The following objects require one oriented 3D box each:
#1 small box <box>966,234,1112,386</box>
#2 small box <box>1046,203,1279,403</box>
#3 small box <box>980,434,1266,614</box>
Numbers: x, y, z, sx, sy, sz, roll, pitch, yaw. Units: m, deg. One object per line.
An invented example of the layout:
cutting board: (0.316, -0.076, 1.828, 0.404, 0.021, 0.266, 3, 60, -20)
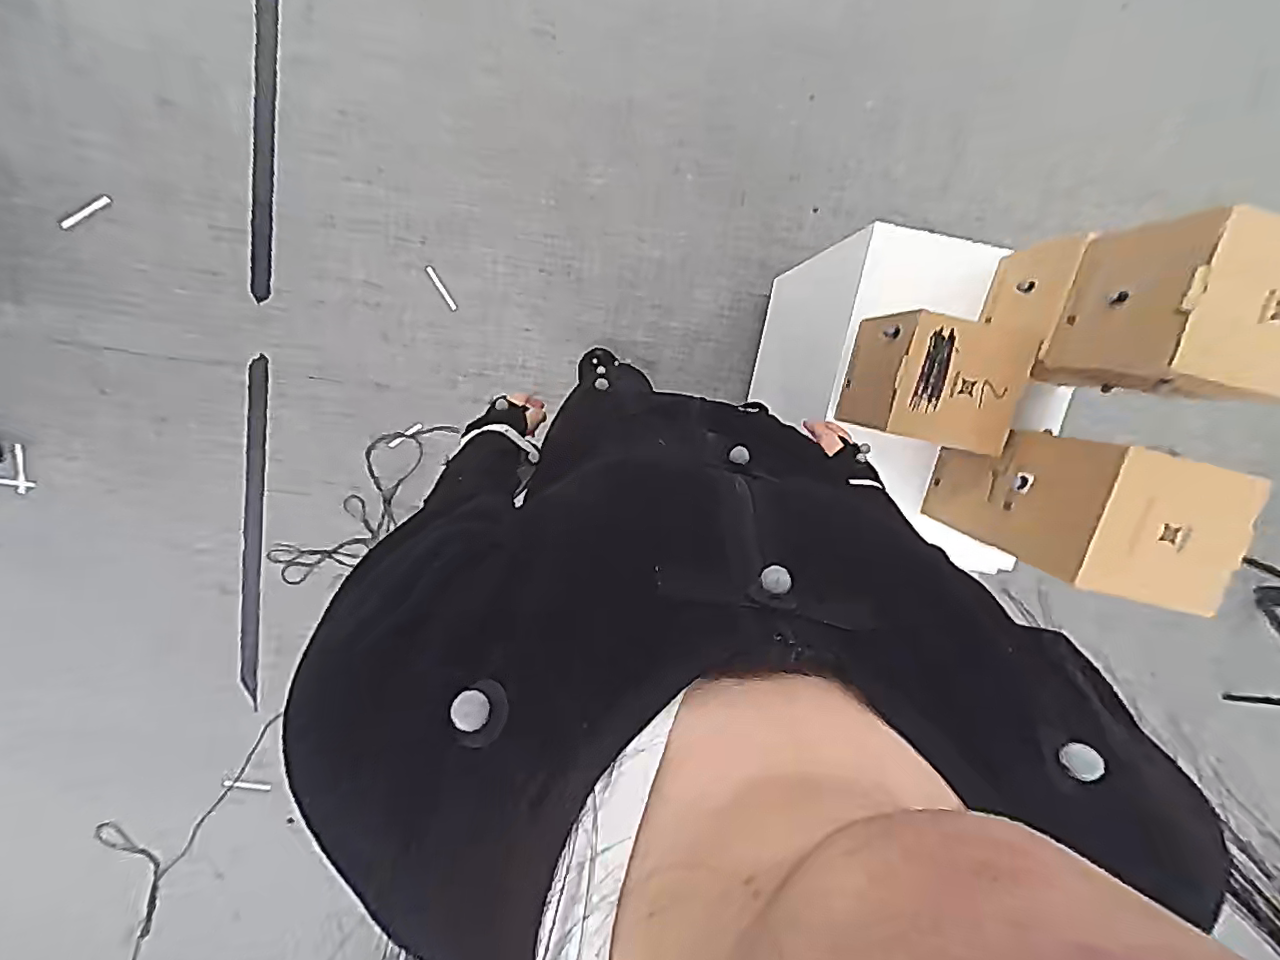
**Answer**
small box: (0.623, -0.234, 0.788, 0.179, 0.176, 0.168, 14, 102, -5)
small box: (0.633, -0.191, 0.629, 0.179, 0.176, 0.168, 14, 101, -5)
small box: (0.580, 0.044, 0.677, 0.179, 0.176, 0.168, 12, 100, -3)
